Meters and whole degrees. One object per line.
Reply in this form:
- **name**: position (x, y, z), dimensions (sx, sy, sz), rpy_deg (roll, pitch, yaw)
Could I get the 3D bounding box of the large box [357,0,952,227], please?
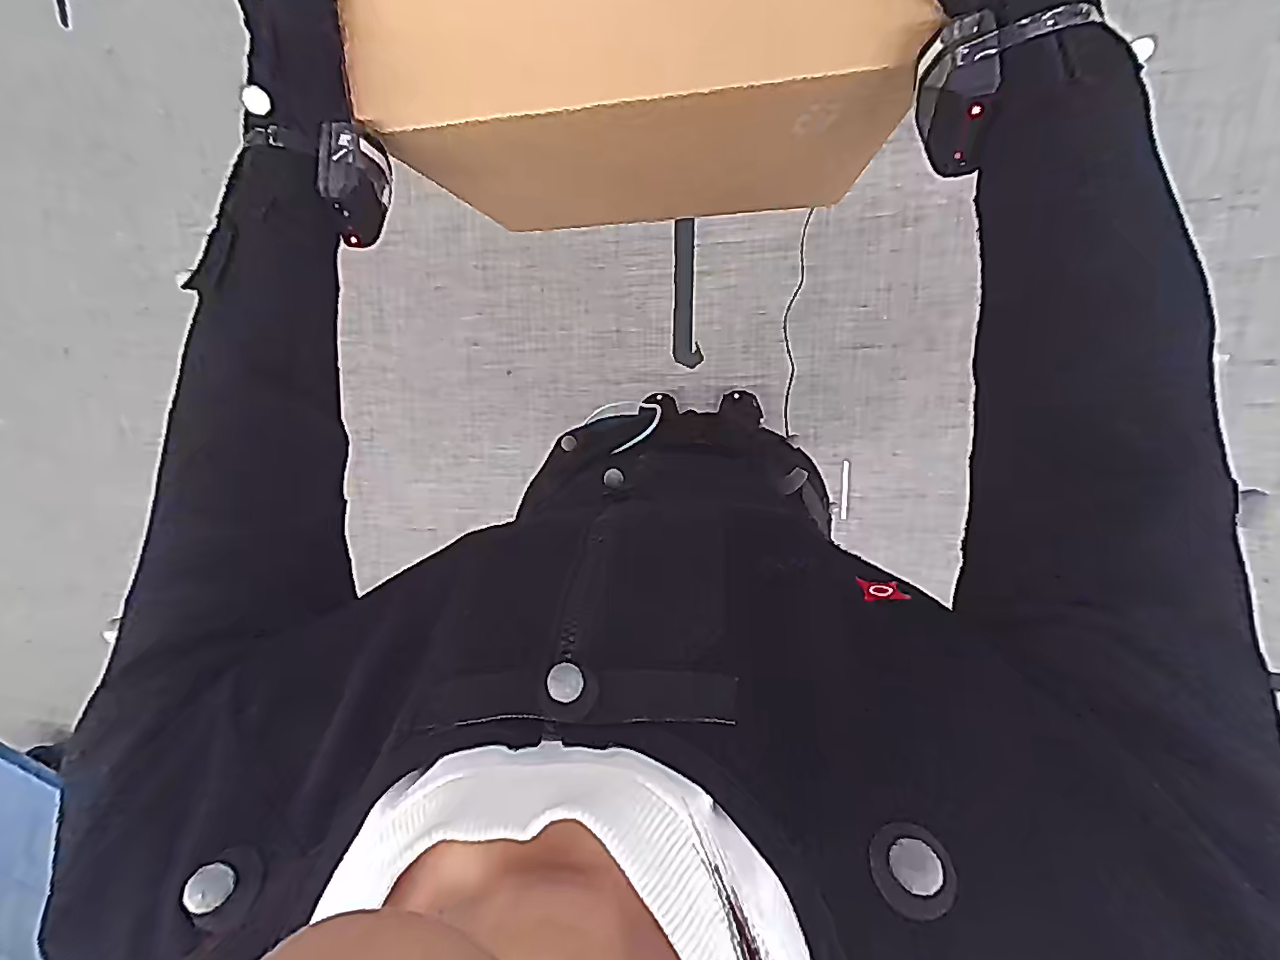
- **large box**: position (0.008, -0.446, 0.486), dimensions (0.408, 0.320, 0.320), rpy_deg (-2, 102, 7)
